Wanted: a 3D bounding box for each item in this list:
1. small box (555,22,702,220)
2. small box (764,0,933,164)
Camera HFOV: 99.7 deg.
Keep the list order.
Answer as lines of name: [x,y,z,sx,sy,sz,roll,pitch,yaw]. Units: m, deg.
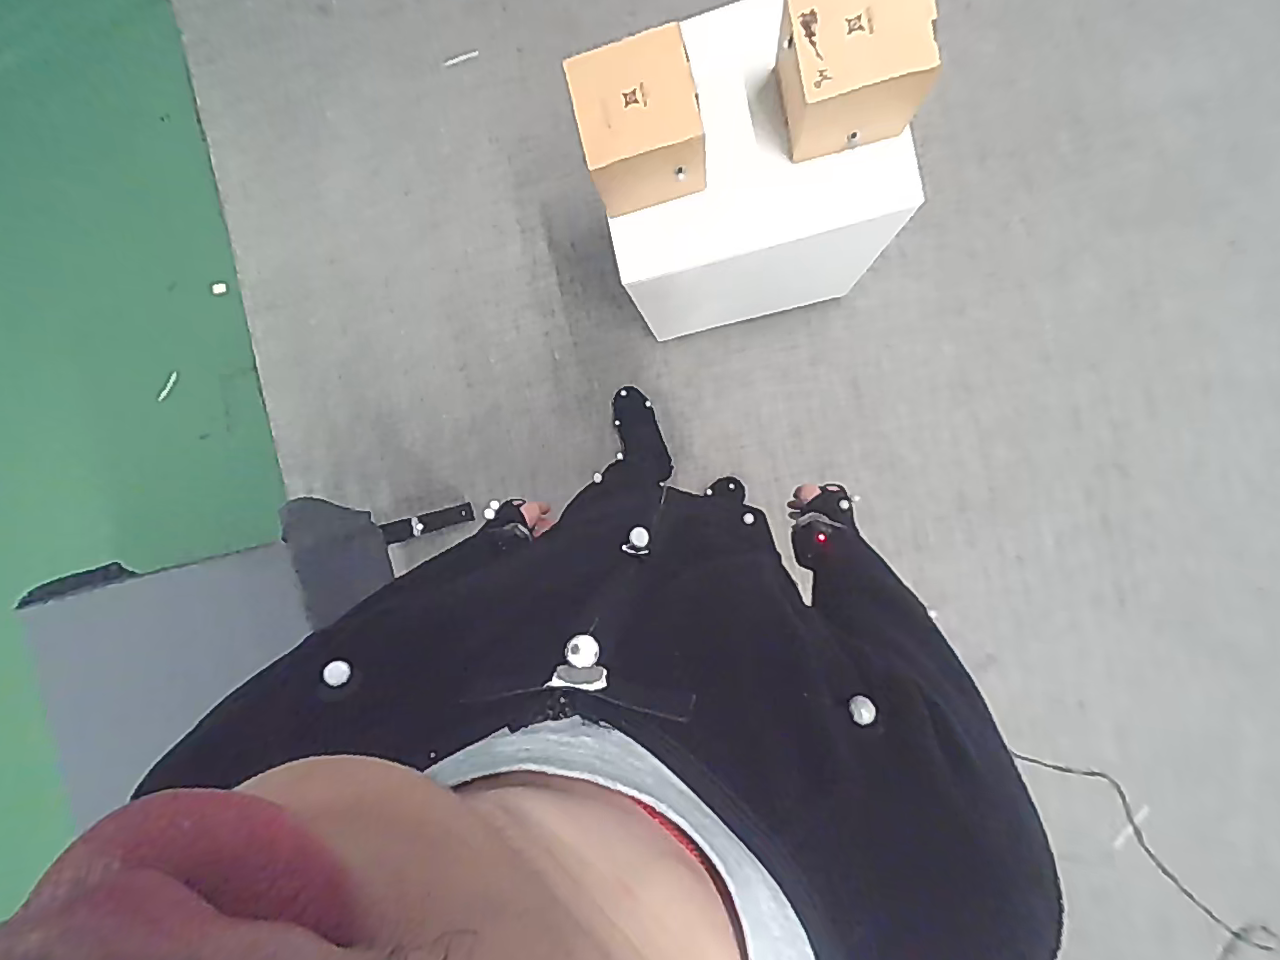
small box: [-0.010,-0.534,0.832,0.179,0.176,0.168,-15,90,7]
small box: [0.293,-0.605,0.795,0.179,0.176,0.168,-12,92,7]
